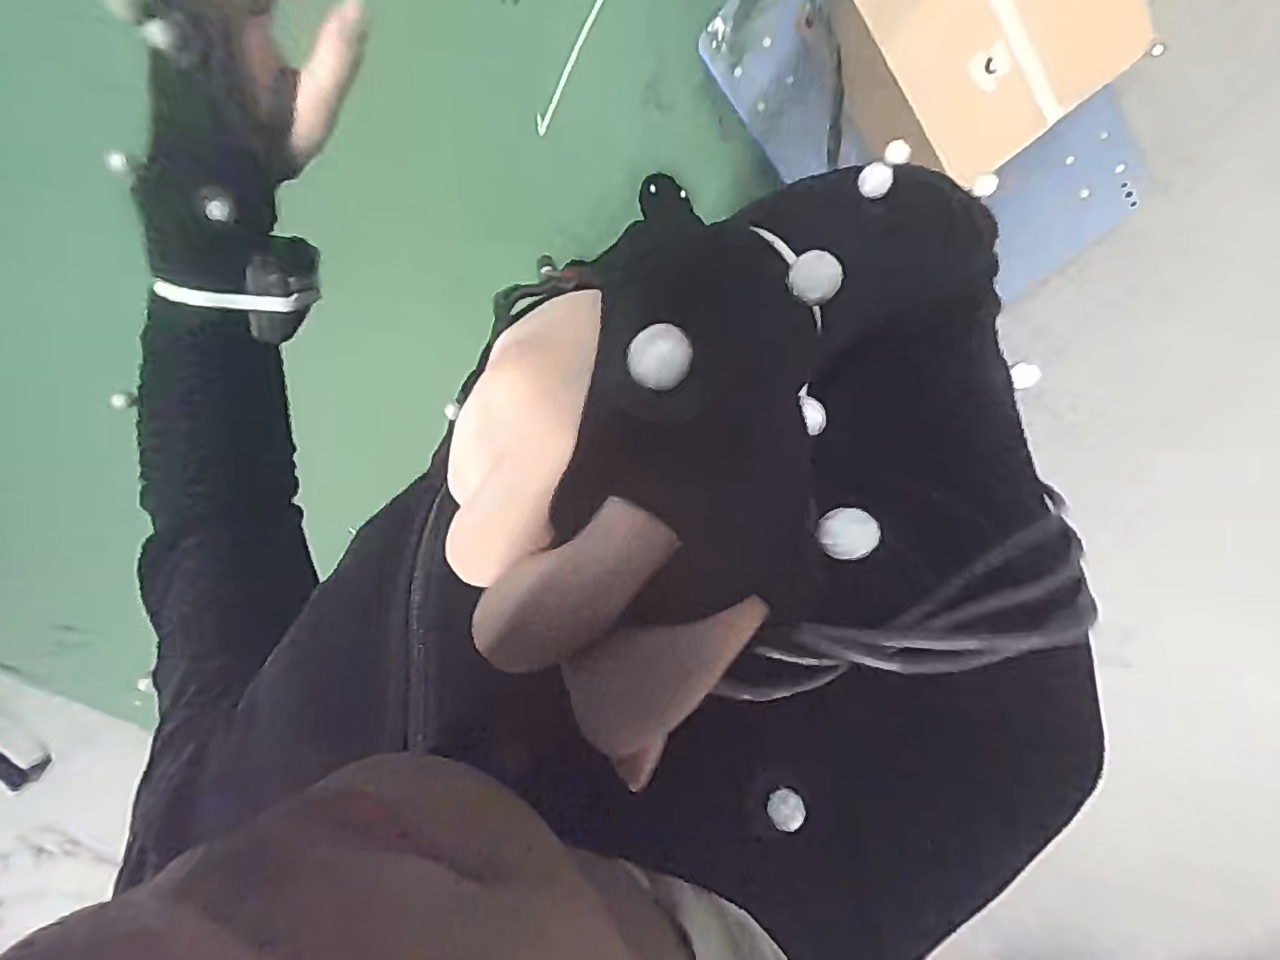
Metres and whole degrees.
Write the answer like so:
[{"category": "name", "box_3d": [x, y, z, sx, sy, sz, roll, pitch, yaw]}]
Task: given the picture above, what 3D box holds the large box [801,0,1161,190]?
[{"category": "large box", "box_3d": [0.540, -0.774, 0.921, 0.320, 0.320, 0.408, -36, 111, 21]}]
